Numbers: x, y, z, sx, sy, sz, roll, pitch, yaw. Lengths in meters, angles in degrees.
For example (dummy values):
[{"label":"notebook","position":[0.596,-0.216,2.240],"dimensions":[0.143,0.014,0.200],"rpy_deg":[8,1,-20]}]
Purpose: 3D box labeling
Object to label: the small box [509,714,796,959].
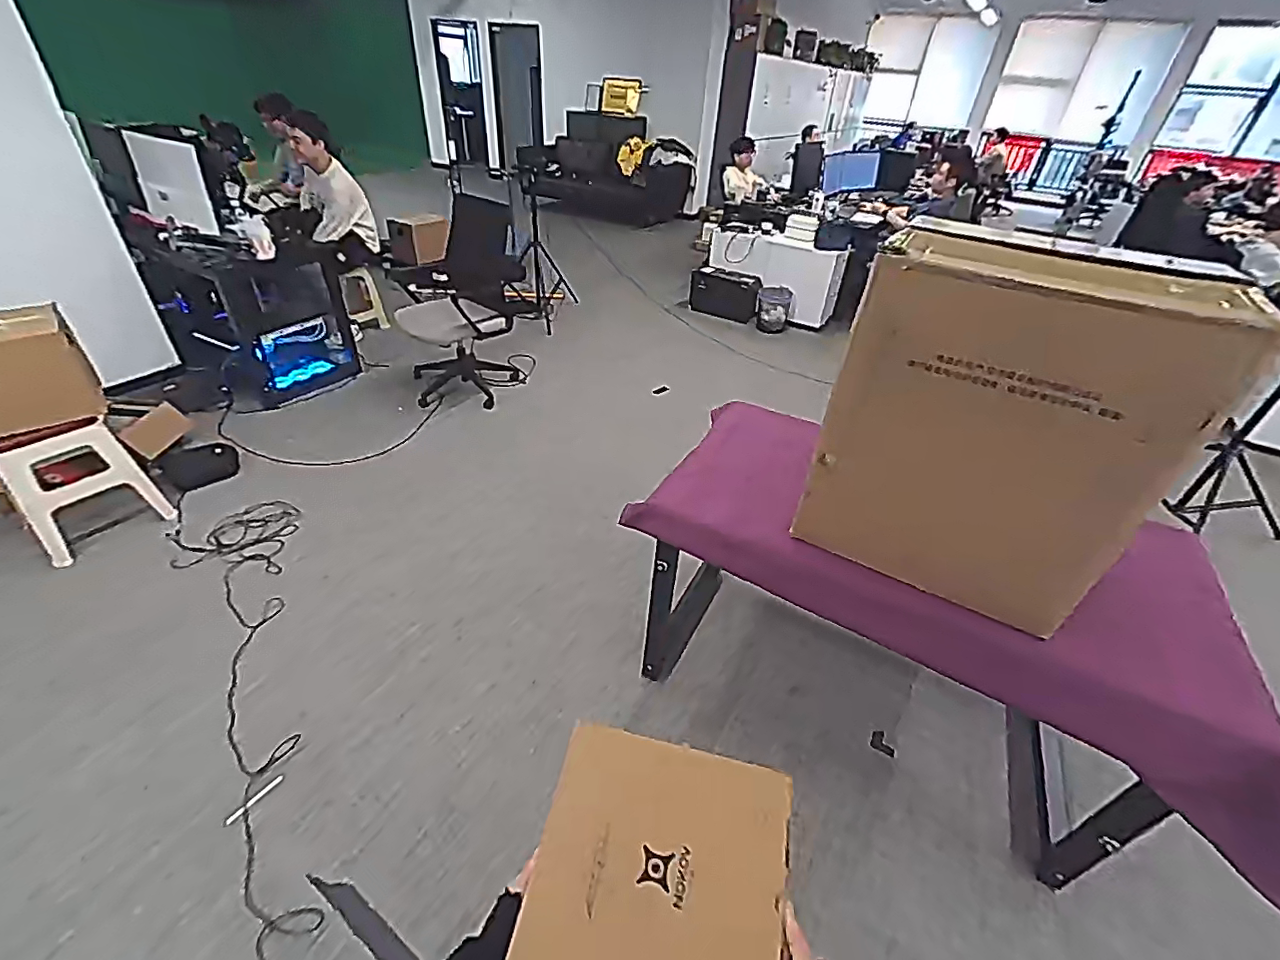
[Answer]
[{"label":"small box","position":[0.016,0.315,0.432],"dimensions":[0.179,0.176,0.168],"rpy_deg":[10,48,7]}]
